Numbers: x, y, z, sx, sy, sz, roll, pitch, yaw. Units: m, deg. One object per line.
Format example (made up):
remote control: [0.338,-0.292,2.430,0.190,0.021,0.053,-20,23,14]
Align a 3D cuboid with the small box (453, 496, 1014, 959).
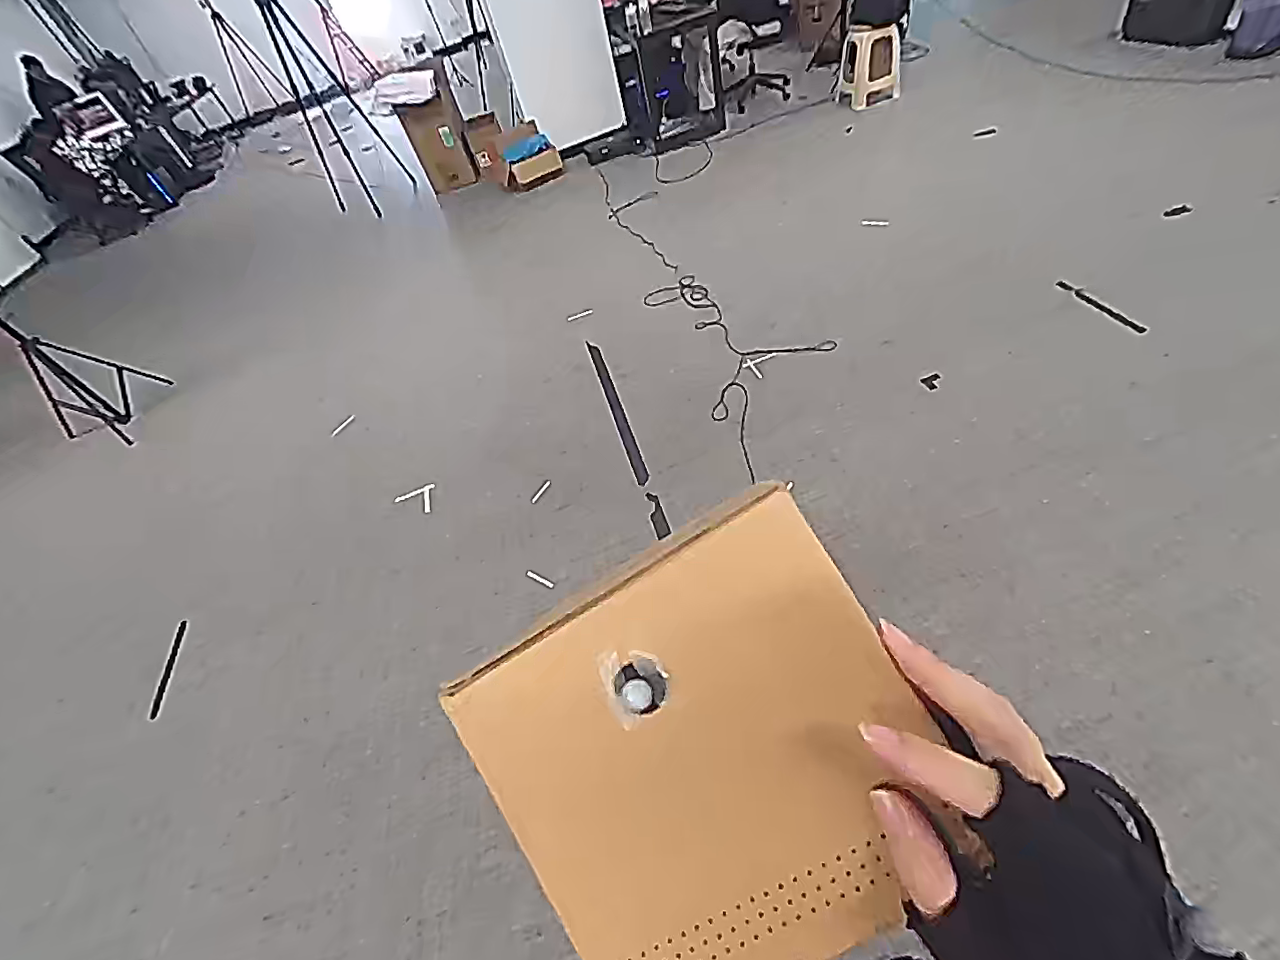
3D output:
small box: [0.044,0.125,0.294,0.179,0.168,0.176,-32,85,8]
